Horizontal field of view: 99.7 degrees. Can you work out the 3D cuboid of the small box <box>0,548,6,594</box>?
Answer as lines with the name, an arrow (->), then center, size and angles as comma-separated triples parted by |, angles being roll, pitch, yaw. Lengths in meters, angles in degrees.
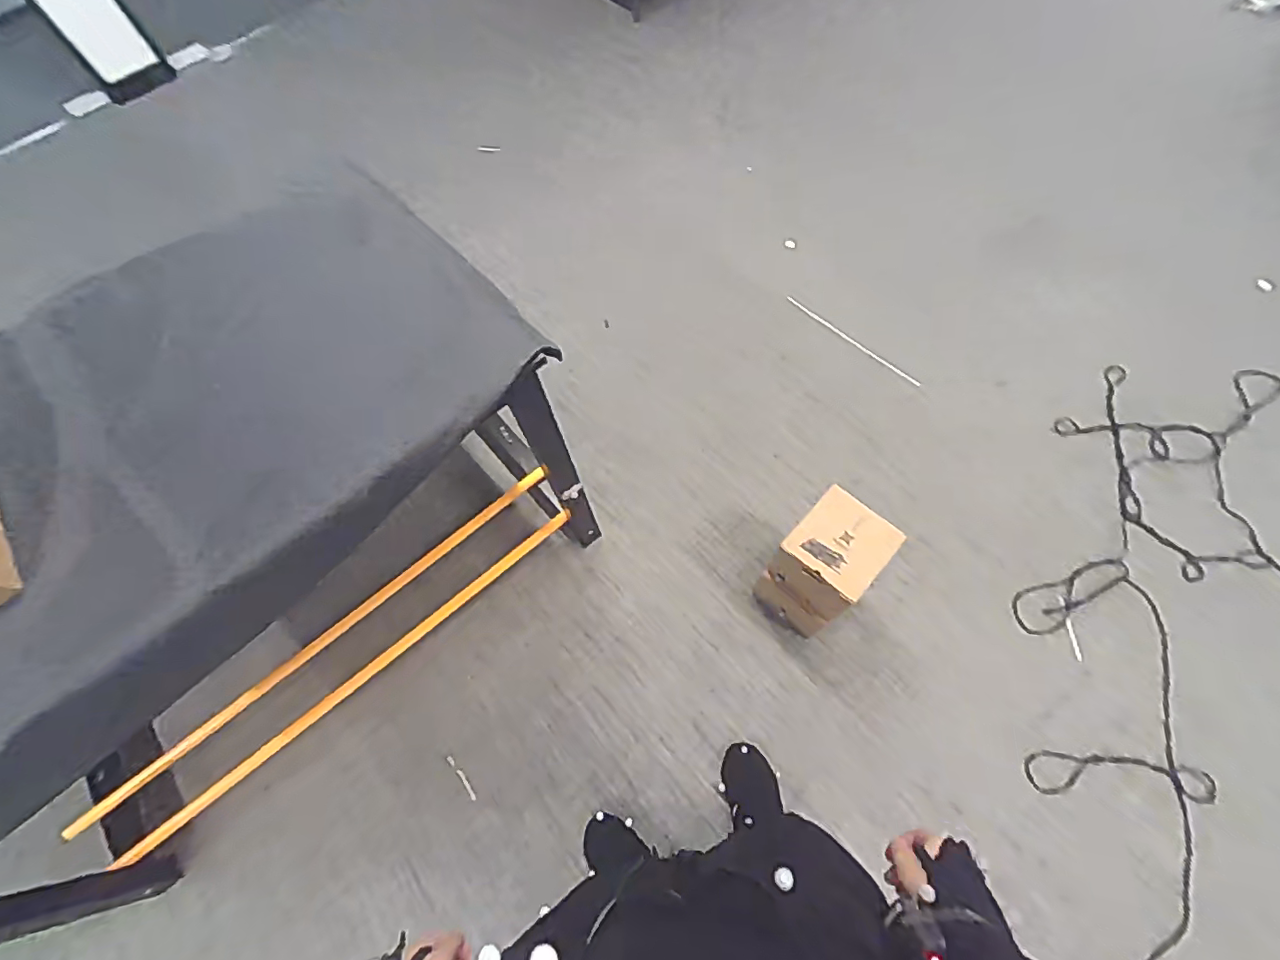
small box -> -0.839, 0.094, 0.566 | 0.179, 0.176, 0.168 | -40, 67, -14

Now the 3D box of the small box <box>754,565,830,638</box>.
small box -> 0.377, 0.232, 1.229 | 0.168, 0.176, 0.179 | 38, 73, 20

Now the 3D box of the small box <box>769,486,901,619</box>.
small box -> 0.378, 0.152, 1.084 | 0.168, 0.176, 0.179 | 40, 71, 19
